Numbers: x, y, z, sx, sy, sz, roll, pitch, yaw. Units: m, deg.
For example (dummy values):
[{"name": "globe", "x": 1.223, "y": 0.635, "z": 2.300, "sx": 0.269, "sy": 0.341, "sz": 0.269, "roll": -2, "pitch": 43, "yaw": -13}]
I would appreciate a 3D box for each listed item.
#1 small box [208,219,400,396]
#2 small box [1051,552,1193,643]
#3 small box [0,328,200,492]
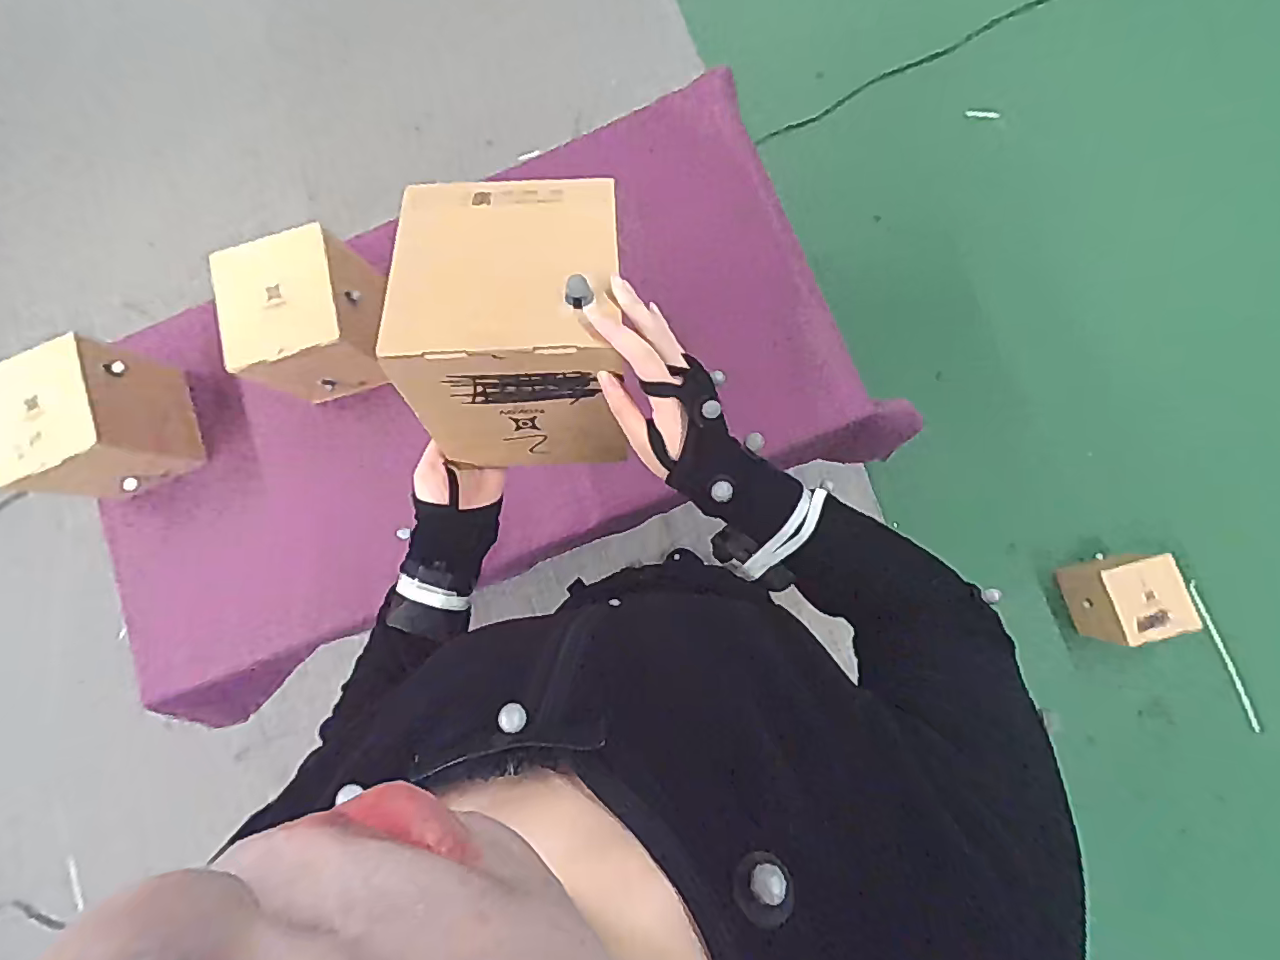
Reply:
[{"name": "small box", "x": -0.487, "y": -0.244, "z": 0.805, "sx": 0.168, "sy": 0.176, "sz": 0.179, "roll": -14, "pitch": 83, "yaw": 4}, {"name": "small box", "x": 1.158, "y": 0.278, "z": 1.315, "sx": 0.168, "sy": 0.176, "sz": 0.179, "roll": -16, "pitch": 81, "yaw": 3}, {"name": "small box", "x": -0.823, "y": -0.094, "z": 0.817, "sx": 0.168, "sy": 0.176, "sz": 0.179, "roll": -21, "pitch": 82, "yaw": 3}]
